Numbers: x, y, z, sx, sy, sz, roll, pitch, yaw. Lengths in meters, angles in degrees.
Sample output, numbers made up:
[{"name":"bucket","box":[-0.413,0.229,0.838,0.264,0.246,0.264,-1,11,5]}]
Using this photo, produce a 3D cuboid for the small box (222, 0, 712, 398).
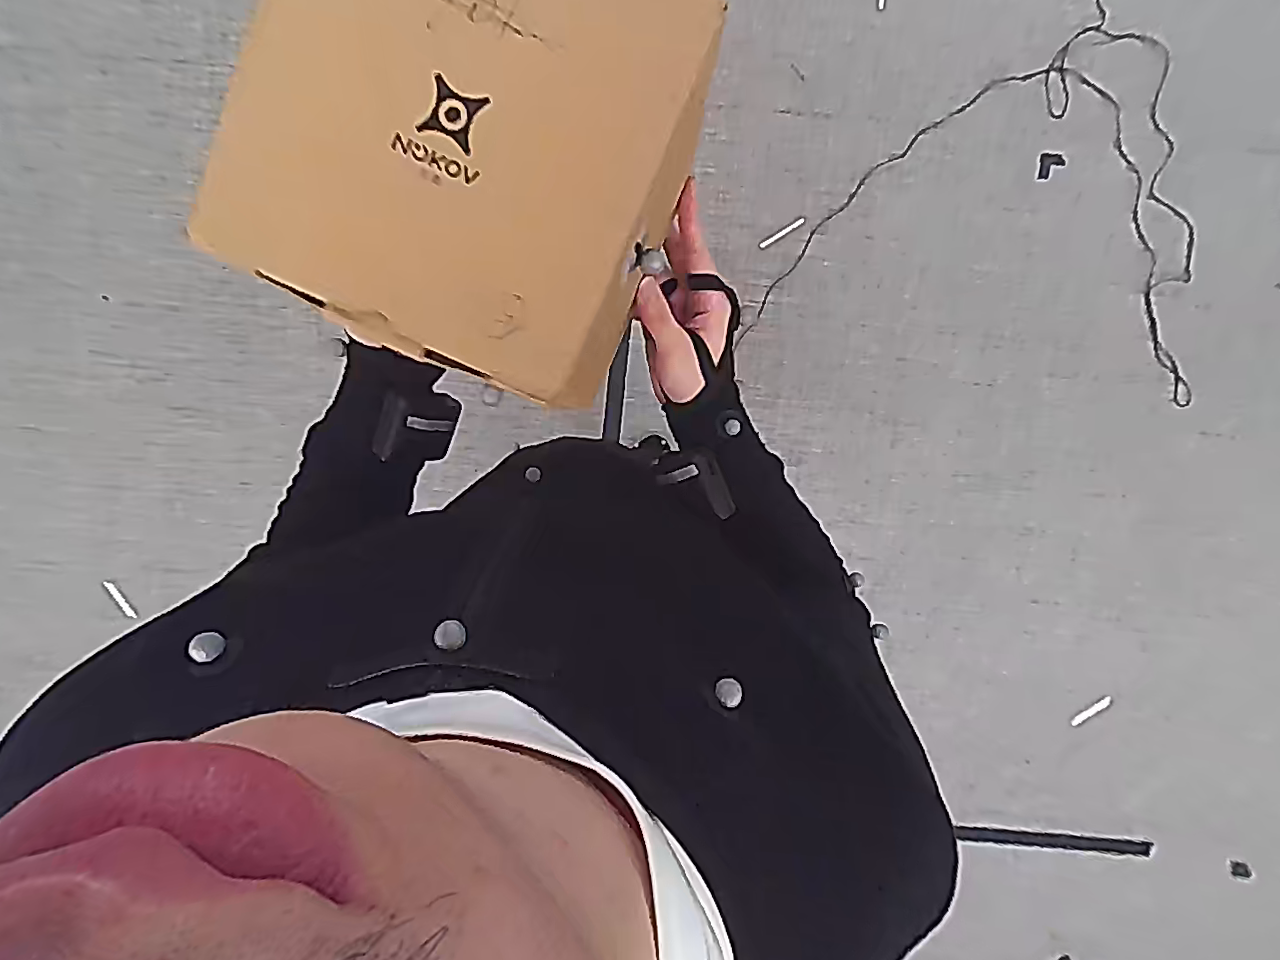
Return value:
[{"name":"small box","box":[-0.076,-0.155,0.309,0.168,0.176,0.179,22,95,-4]}]
